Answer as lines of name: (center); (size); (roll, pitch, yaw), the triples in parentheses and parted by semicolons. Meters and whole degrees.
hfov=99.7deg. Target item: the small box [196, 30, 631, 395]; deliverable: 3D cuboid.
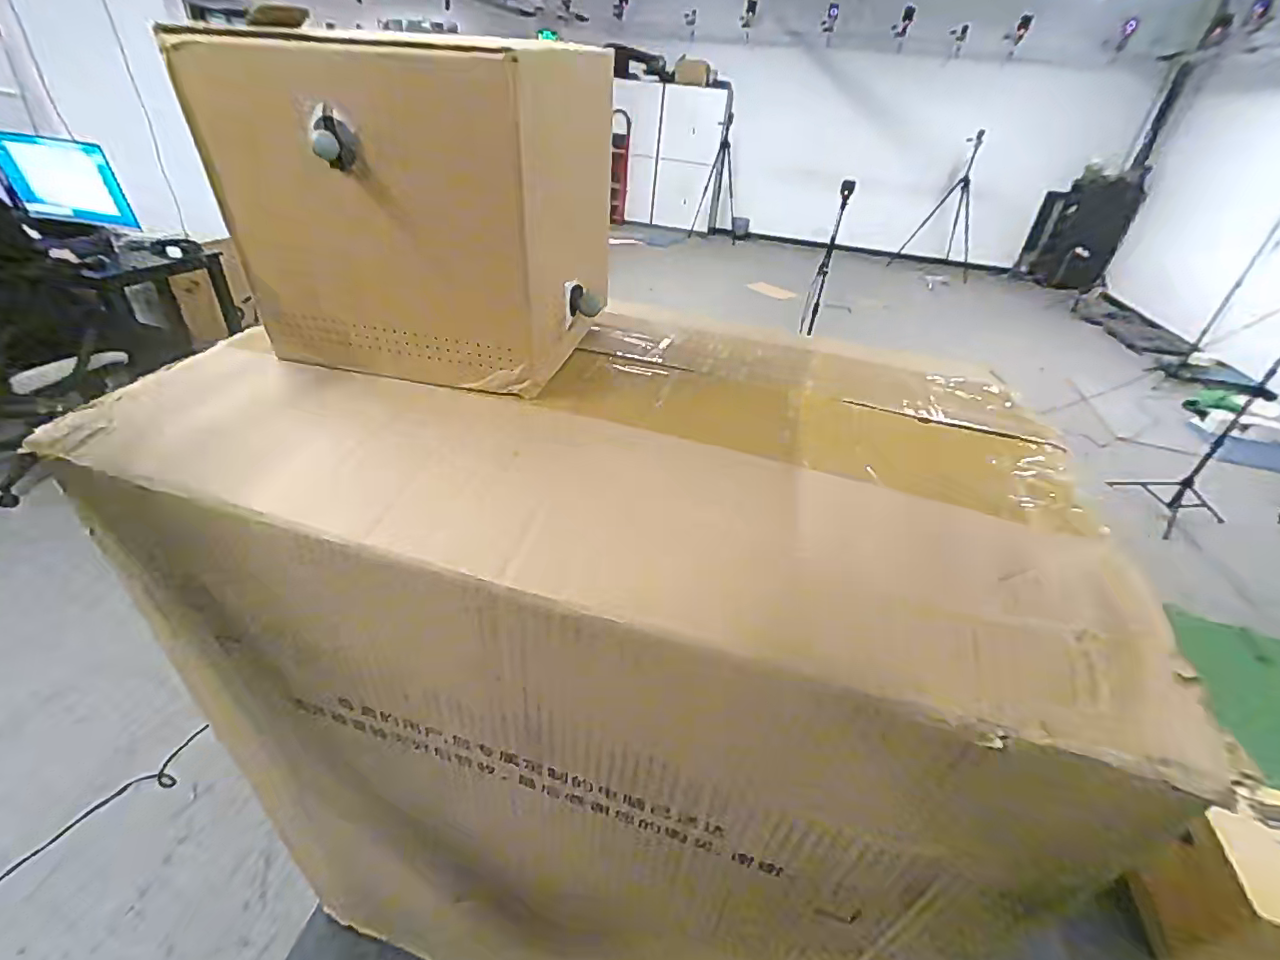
small box: (-0.113, -0.172, 0.350); (0.179, 0.176, 0.168); (11, 40, 6)

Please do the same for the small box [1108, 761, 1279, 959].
small box: (0.731, 0.493, 0.660); (0.168, 0.176, 0.179); (14, 35, 12)
